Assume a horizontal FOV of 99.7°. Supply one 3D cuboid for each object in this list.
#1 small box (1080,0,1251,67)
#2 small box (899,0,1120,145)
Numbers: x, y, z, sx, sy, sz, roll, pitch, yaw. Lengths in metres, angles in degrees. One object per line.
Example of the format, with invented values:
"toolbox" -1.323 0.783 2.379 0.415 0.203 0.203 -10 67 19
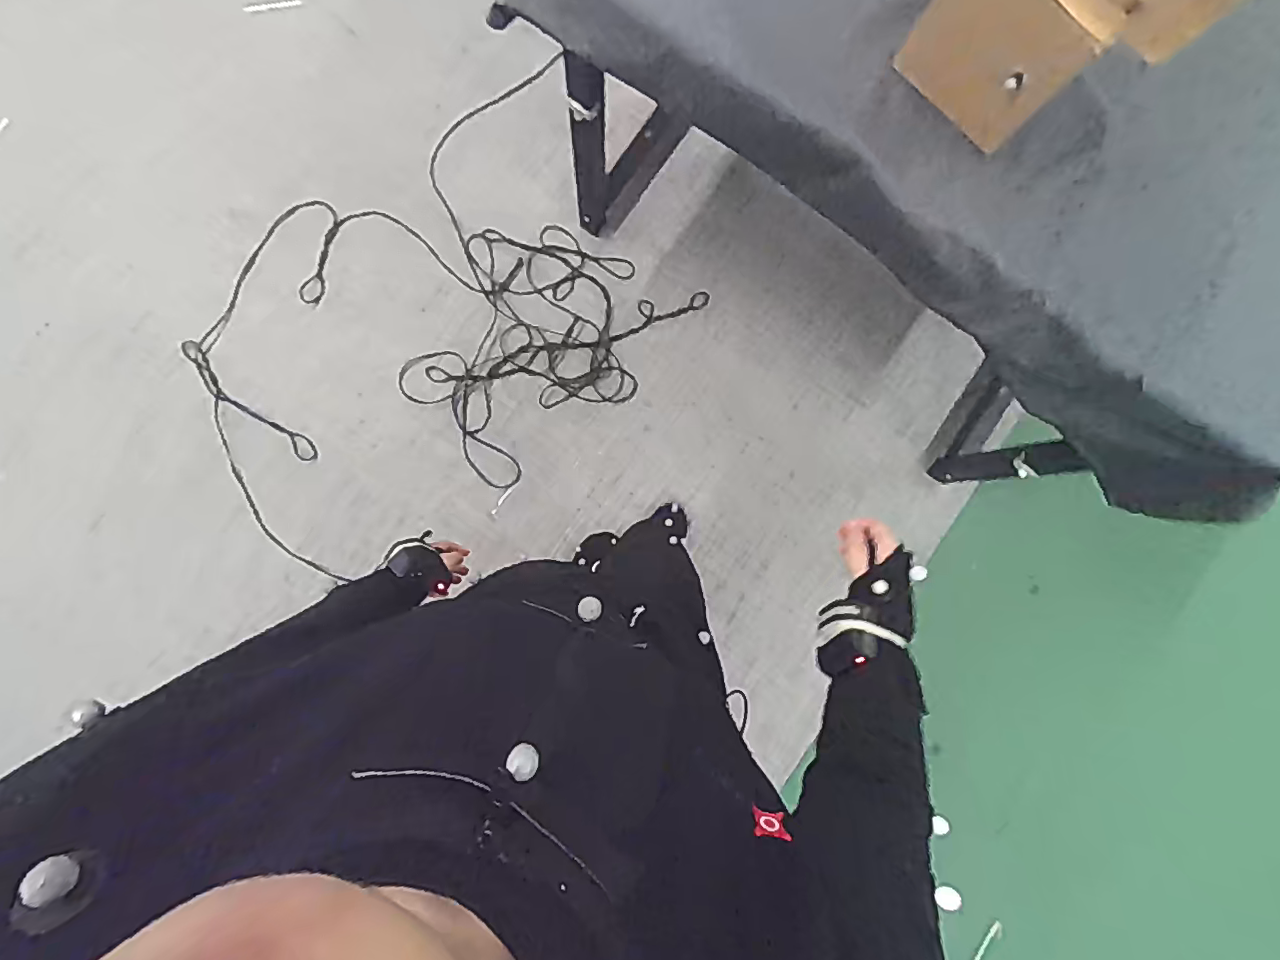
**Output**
"small box" 0.521 -0.530 0.469 0.168 0.176 0.179 41 85 -2
"small box" 0.451 -0.534 0.627 0.179 0.176 0.168 42 84 0
